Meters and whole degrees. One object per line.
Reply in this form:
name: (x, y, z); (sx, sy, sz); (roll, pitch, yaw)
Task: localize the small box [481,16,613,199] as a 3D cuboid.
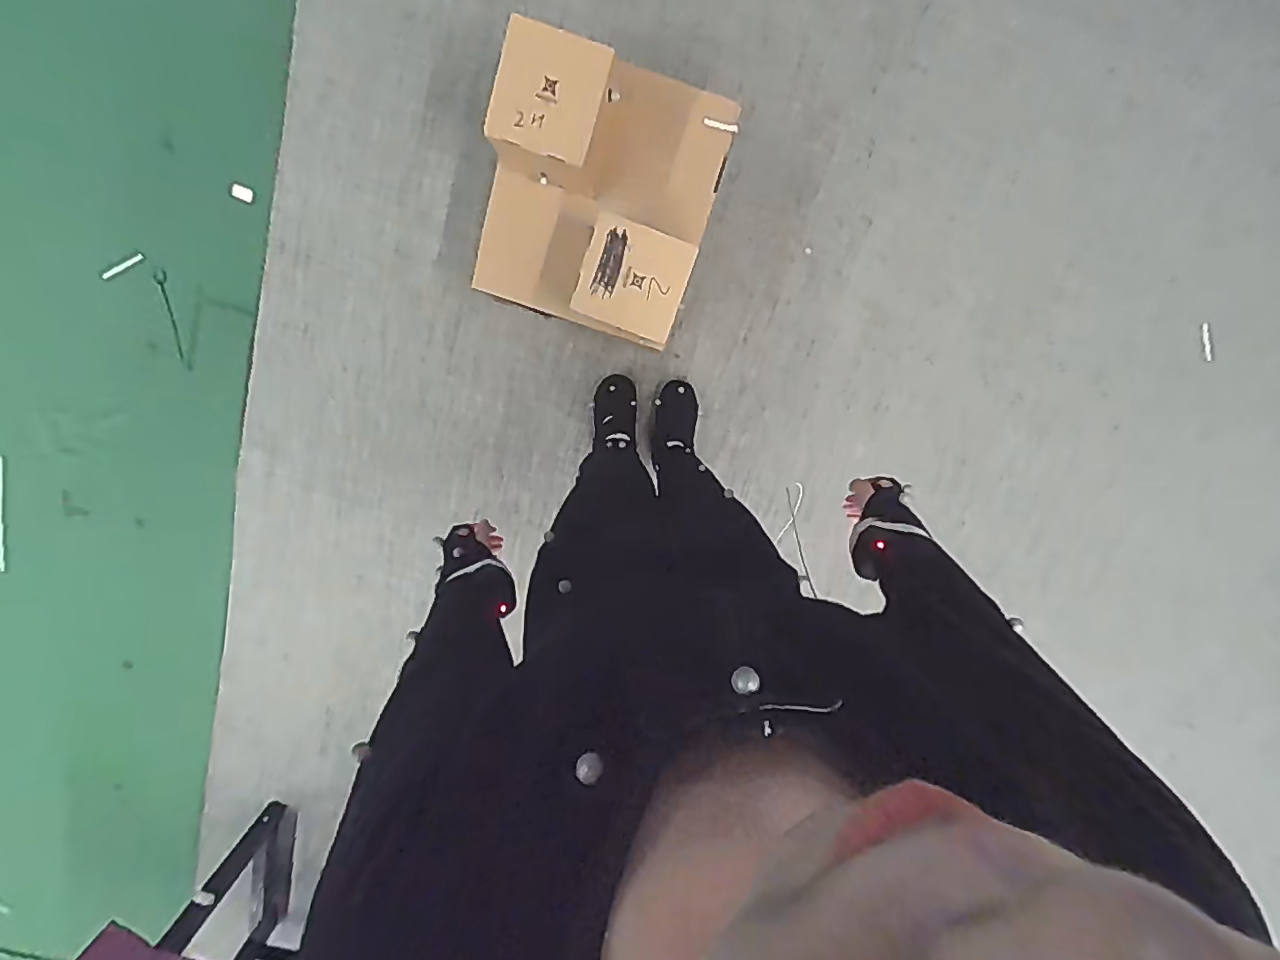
small box: (-0.146, -0.611, 0.911); (0.168, 0.176, 0.179); (17, 101, -3)
